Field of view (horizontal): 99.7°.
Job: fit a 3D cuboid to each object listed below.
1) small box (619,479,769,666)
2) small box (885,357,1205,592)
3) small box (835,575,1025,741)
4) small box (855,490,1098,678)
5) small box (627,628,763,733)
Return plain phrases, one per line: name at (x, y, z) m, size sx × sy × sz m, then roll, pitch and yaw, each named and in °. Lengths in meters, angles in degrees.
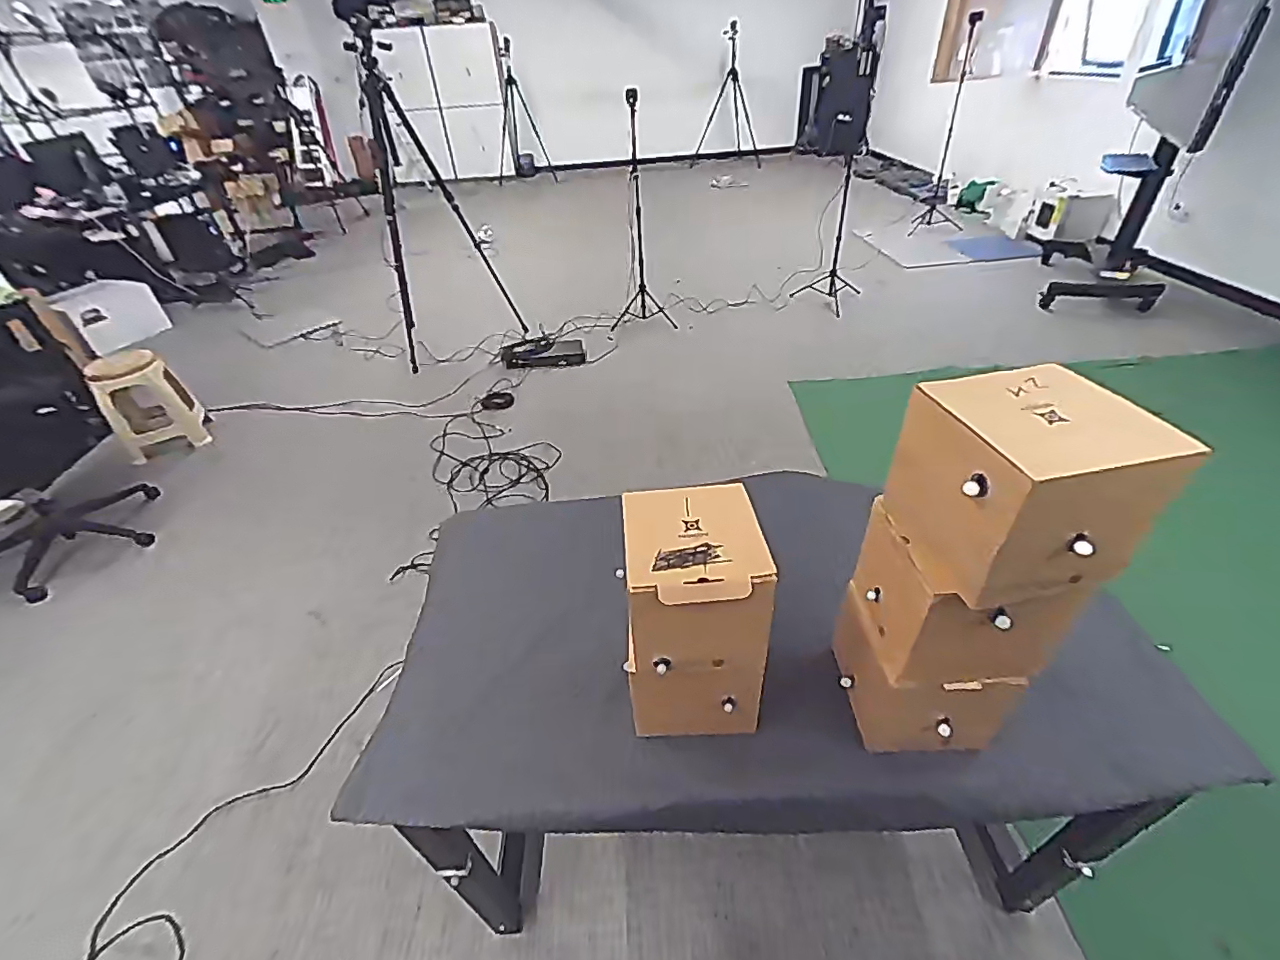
small box at (0.063, 0.123, 0.700) m, size 0.168 × 0.176 × 0.179 m, roll -5°, pitch 36°, yaw -1°
small box at (0.382, -0.003, 0.555) m, size 0.168 × 0.176 × 0.179 m, roll -9°, pitch 38°, yaw -5°
small box at (0.389, 0.251, 0.763) m, size 0.168 × 0.176 × 0.179 m, roll -3°, pitch 38°, yaw 3°
small box at (0.386, 0.122, 0.663) m, size 0.179 × 0.176 × 0.168 m, roll -5°, pitch 38°, yaw 2°
small box at (0.075, 0.253, 0.798) m, size 0.179 × 0.176 × 0.168 m, roll -4°, pitch 37°, yaw 3°
